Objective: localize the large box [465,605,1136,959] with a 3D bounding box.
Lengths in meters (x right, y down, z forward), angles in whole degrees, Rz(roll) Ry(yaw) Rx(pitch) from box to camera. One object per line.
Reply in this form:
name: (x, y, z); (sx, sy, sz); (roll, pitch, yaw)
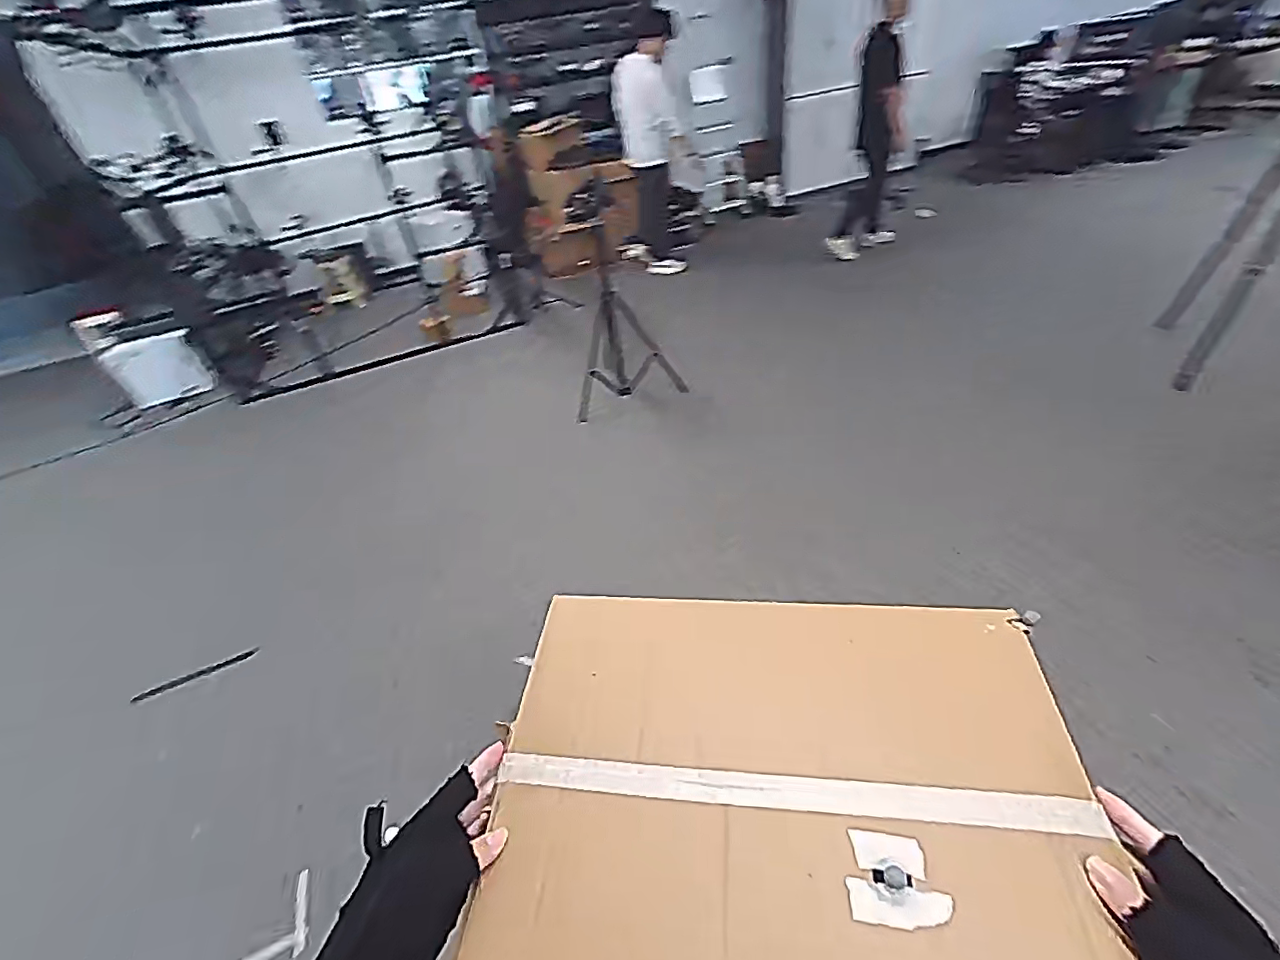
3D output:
large box: (0.110, 0.333, 0.492); (0.408, 0.320, 0.320); (0, 44, 9)
